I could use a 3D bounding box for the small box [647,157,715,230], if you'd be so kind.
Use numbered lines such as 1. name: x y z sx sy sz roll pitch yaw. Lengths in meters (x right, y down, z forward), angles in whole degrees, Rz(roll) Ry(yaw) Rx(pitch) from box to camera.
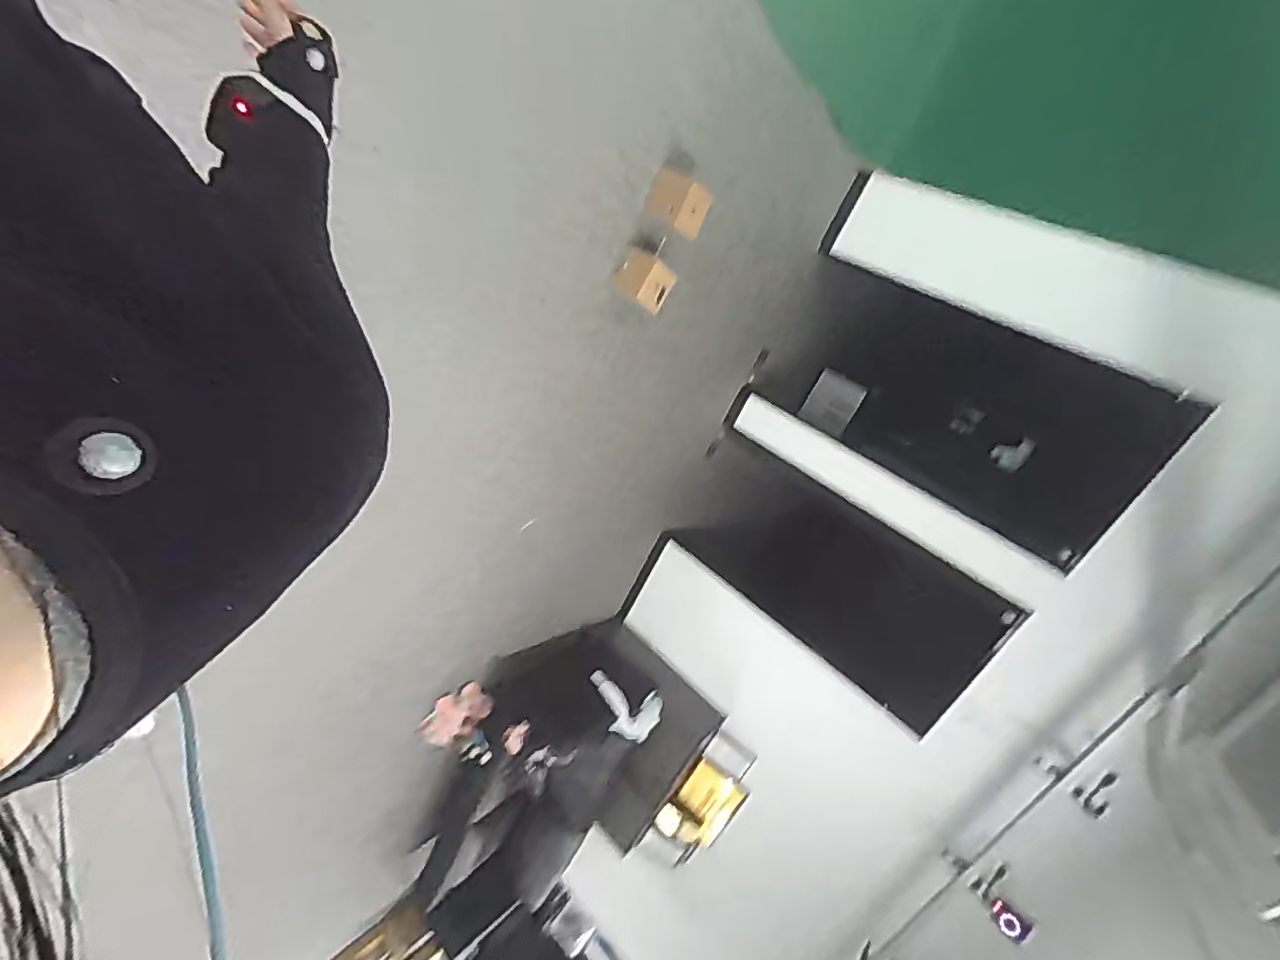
1. small box: 0.149 -1.090 2.055 0.168 0.176 0.179 -6 127 -55

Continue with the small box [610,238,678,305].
1. small box: 0.016 -0.833 2.153 0.168 0.176 0.179 -59 152 11
